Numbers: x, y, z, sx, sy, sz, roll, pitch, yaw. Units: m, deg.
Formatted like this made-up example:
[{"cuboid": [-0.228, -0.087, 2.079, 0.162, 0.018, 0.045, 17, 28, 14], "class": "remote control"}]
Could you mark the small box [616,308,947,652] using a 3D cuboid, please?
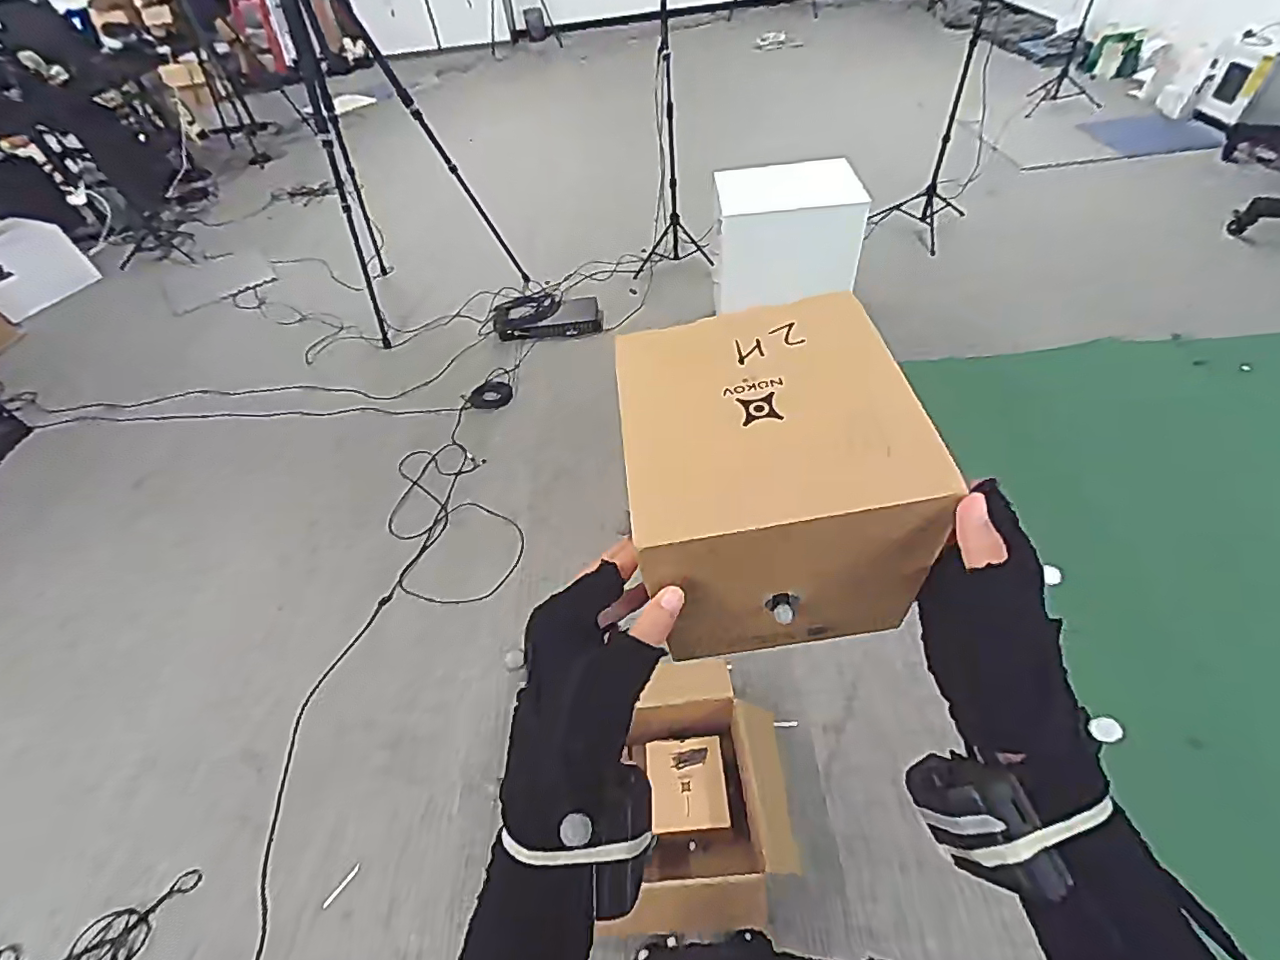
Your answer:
[{"cuboid": [0.082, 0.010, 0.389, 0.168, 0.176, 0.179, -10, 51, 4], "class": "small box"}]
